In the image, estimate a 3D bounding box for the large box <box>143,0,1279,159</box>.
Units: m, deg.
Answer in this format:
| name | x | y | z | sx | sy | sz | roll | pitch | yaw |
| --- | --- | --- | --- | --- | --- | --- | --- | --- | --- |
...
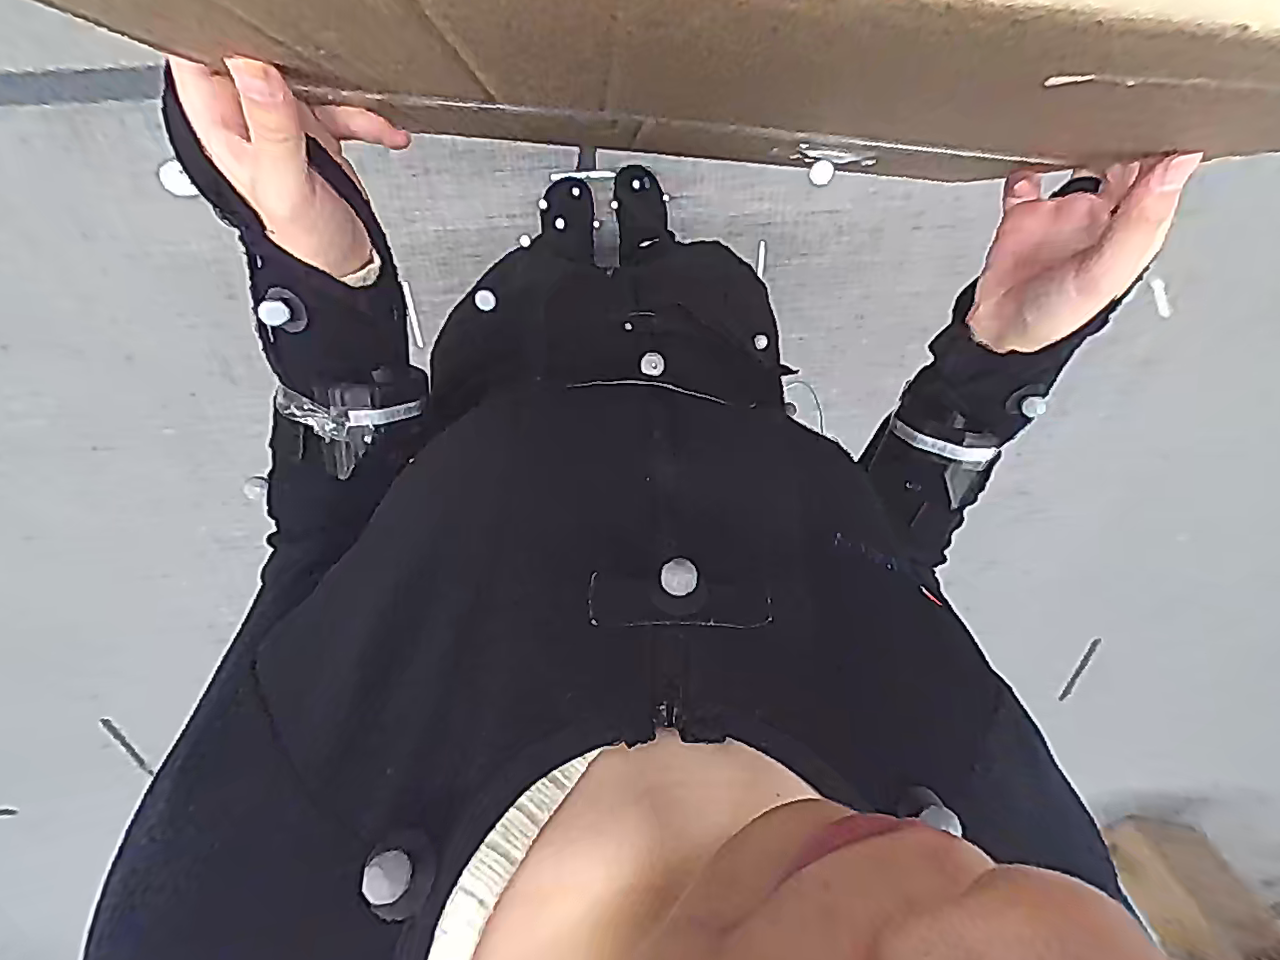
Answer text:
| name | x | y | z | sx | sy | sz | roll | pitch | yaw |
| --- | --- | --- | --- | --- | --- | --- | --- | --- | --- |
| large box | 0.047 | -0.305 | 0.167 | 0.408 | 0.320 | 0.320 | 1 | 117 | -5 |
